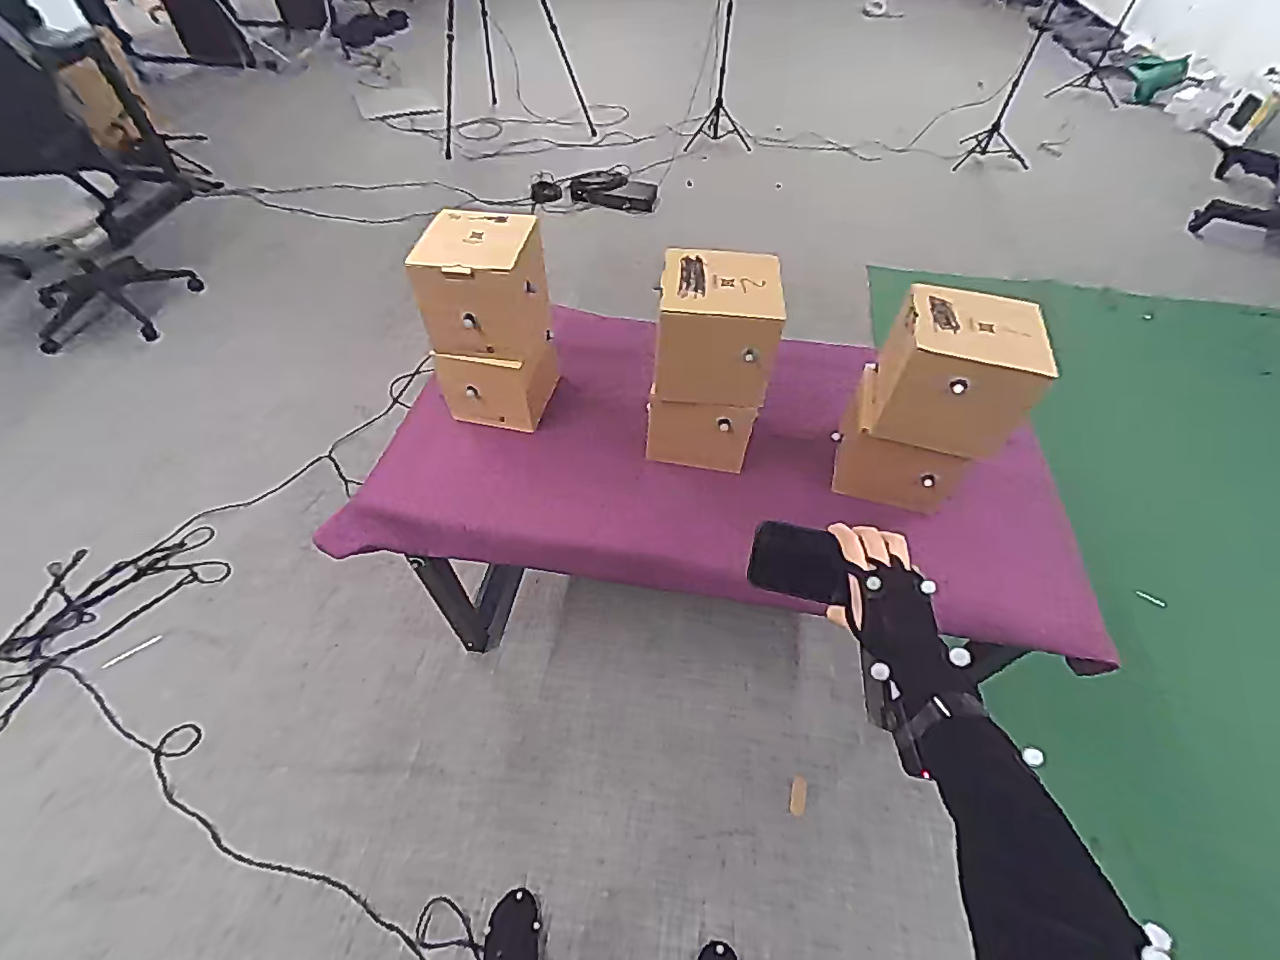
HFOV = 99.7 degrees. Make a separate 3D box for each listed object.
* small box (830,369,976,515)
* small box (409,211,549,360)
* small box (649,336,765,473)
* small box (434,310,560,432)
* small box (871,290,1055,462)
[{"bbox_3d":[0.447,-0.061,0.933,0.179,0.176,0.168,15,53,11],"label":"small box"},{"bbox_3d":[-0.256,-0.324,0.913,0.168,0.176,0.179,7,53,3],"label":"small box"},{"bbox_3d":[0.117,-0.132,0.979,0.179,0.176,0.168,10,52,7],"label":"small box"},{"bbox_3d":[-0.260,-0.216,1.037,0.168,0.176,0.179,11,52,7],"label":"small box"},{"bbox_3d":[0.456,-0.149,0.794,0.179,0.176,0.168,15,53,10],"label":"small box"}]
